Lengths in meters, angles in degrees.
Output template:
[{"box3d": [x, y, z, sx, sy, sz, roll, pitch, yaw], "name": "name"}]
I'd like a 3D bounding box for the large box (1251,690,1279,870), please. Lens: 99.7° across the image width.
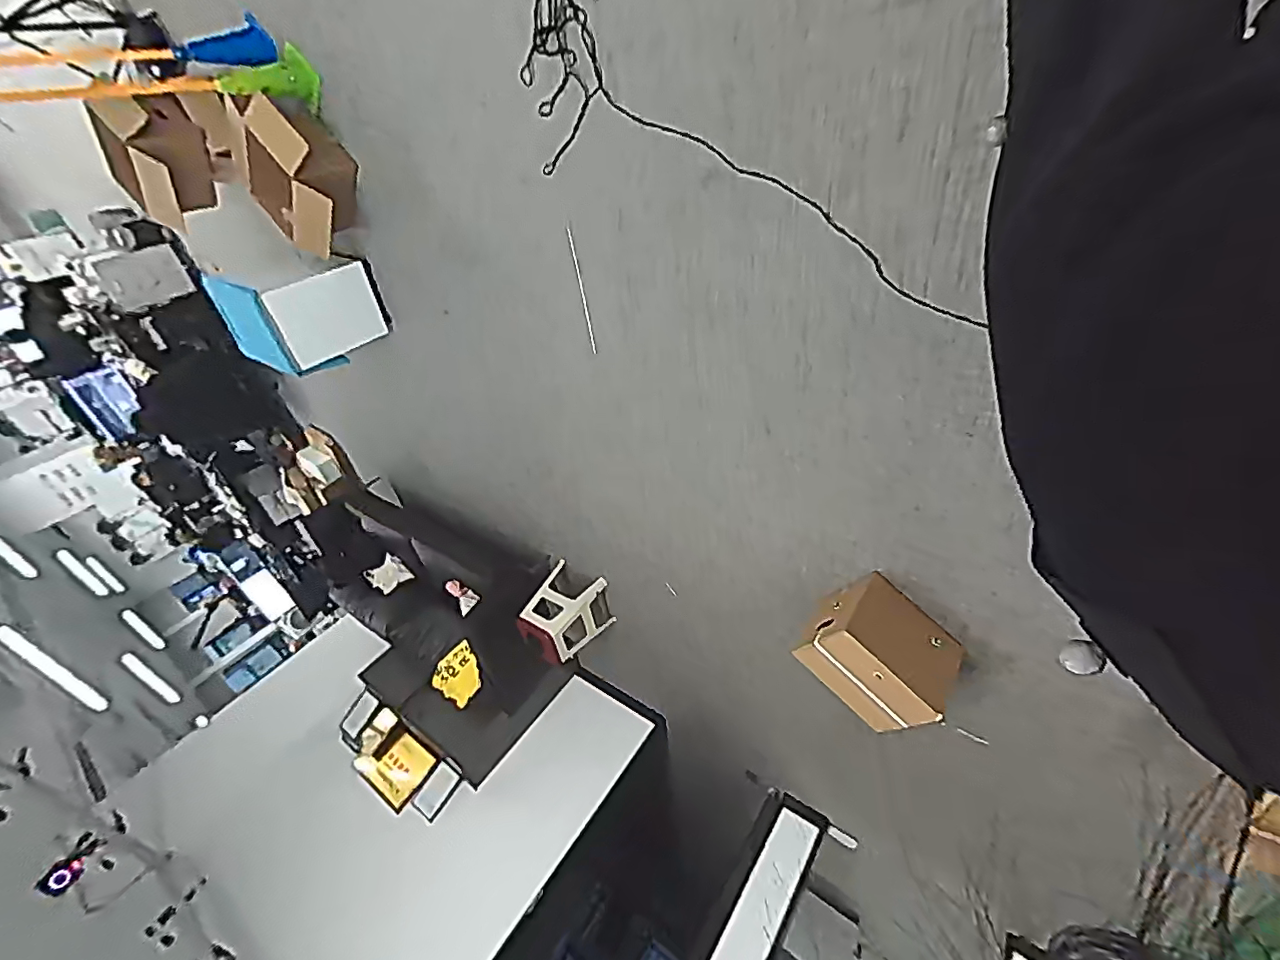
[{"box3d": [1.708, 0.743, 1.218, 0.408, 0.320, 0.320, 4, 127, 42], "name": "large box"}]
